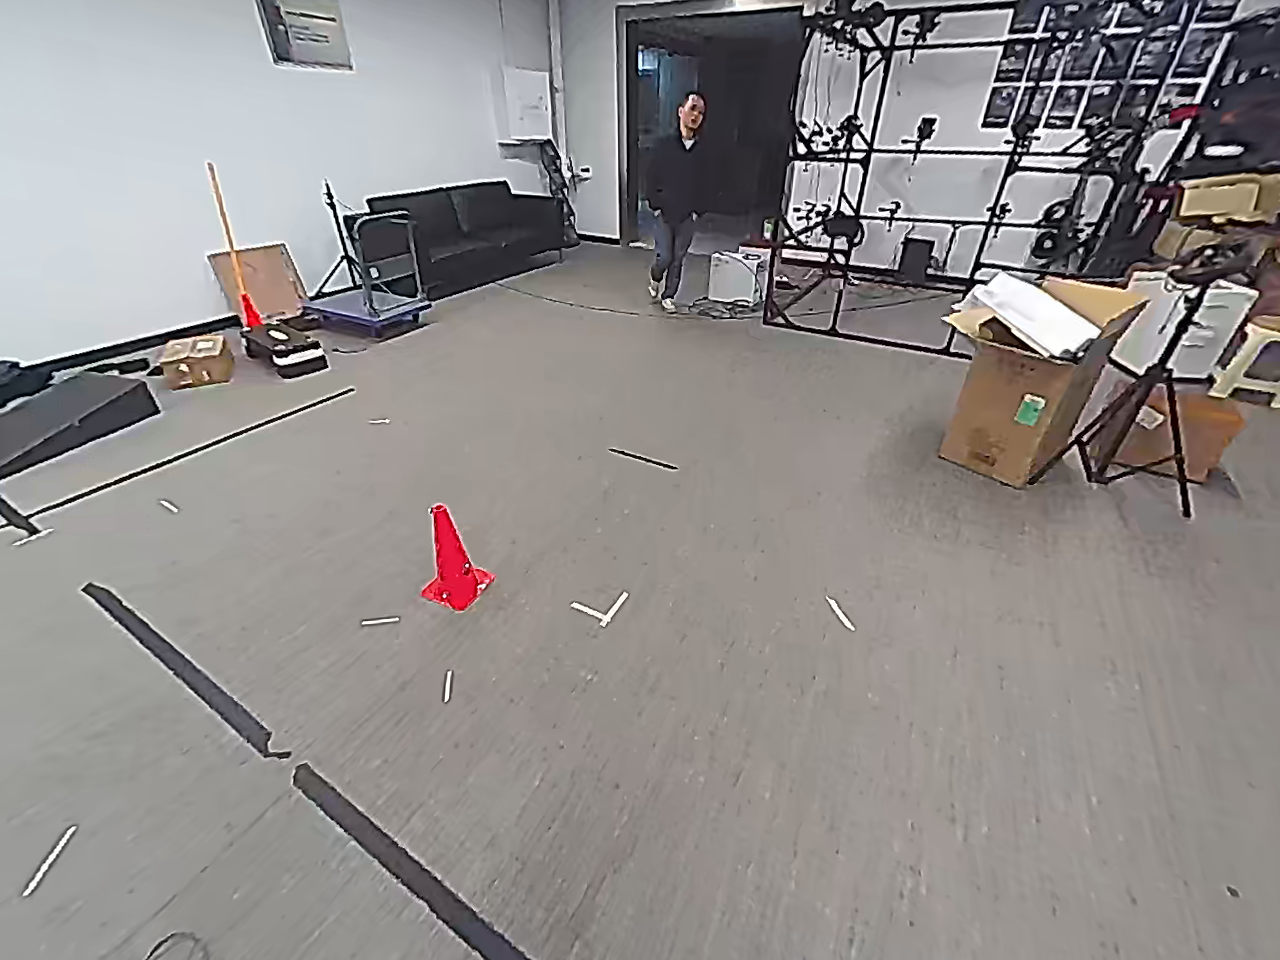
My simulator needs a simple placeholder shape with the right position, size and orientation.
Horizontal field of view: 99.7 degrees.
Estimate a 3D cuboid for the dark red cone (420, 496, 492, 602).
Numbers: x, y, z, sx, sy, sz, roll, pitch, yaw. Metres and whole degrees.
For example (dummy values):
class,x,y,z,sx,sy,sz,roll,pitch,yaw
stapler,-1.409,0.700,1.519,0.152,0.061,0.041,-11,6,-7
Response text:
class,x,y,z,sx,sy,sz,roll,pitch,yaw
dark red cone,-0.664,0.221,1.872,0.202,0.394,0.201,13,36,19
